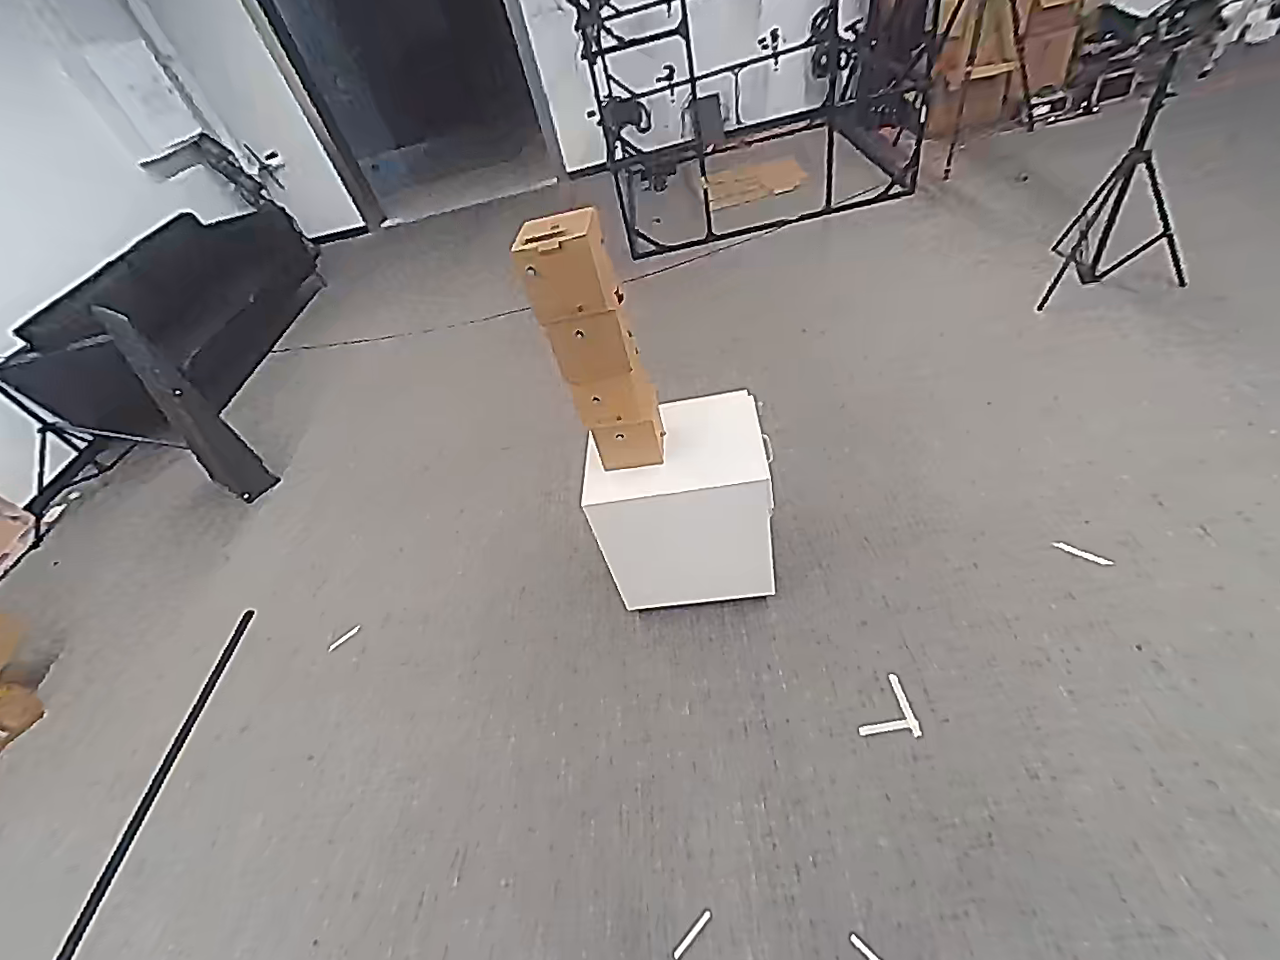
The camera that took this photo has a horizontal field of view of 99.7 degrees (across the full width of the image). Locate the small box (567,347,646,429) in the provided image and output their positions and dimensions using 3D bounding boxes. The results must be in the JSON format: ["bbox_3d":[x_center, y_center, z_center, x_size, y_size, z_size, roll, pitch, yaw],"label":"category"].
[{"bbox_3d":[-0.082,-0.251,1.443,0.168,0.176,0.179,-6,44,11],"label":"small box"}]

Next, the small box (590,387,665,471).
[{"bbox_3d":[-0.030,-0.142,1.552,0.179,0.176,0.168,-7,45,9],"label":"small box"}]

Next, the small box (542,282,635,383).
[{"bbox_3d":[-0.118,-0.355,1.320,0.179,0.176,0.168,-8,45,9],"label":"small box"}]
